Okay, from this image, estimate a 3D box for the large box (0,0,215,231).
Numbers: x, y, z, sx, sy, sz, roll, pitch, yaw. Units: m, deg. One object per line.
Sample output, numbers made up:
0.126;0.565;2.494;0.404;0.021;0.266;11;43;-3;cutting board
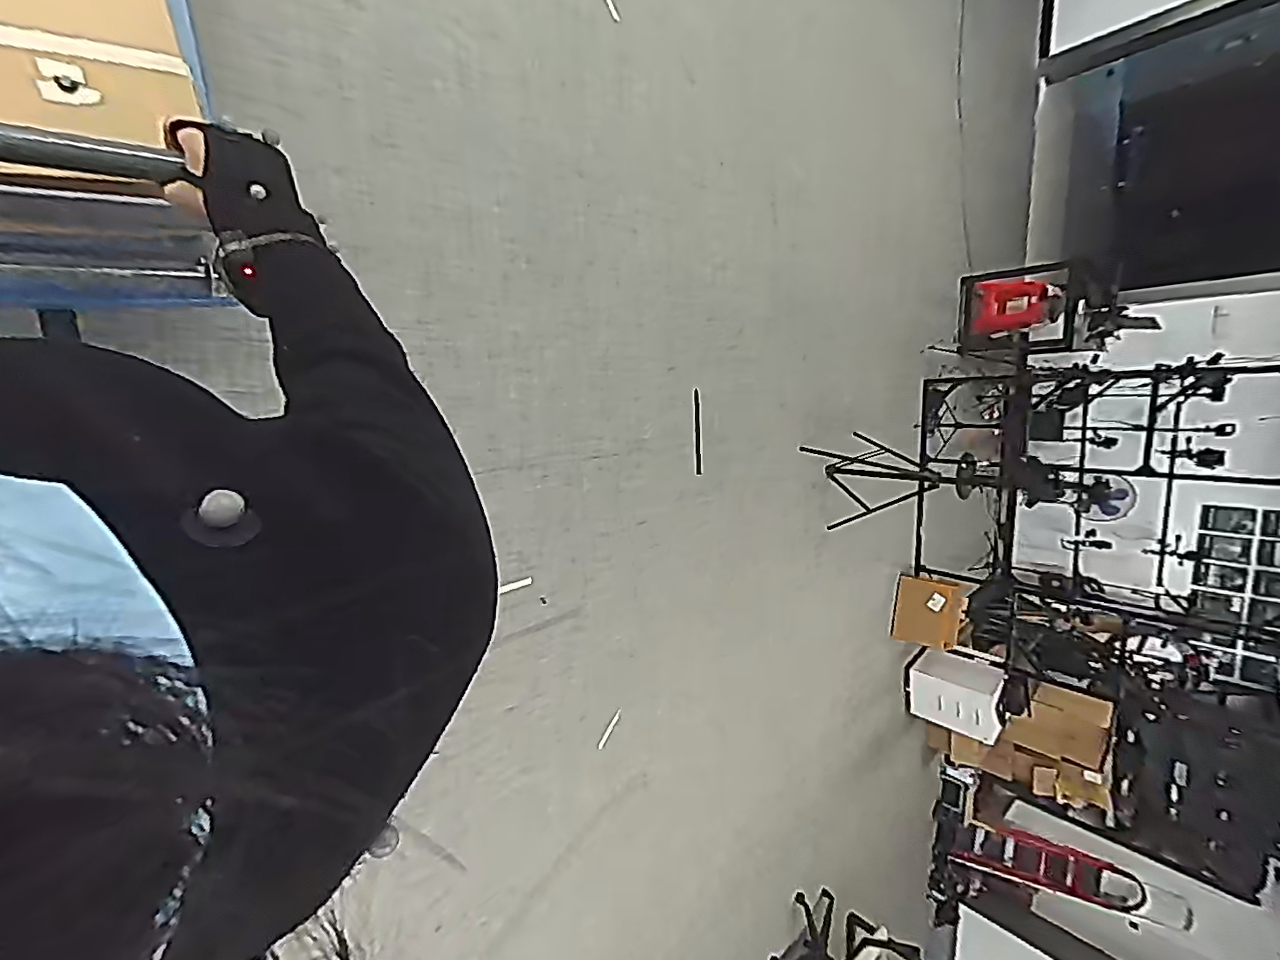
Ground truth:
-0.904;-0.550;0.754;0.408;0.320;0.320;-21;110;-41;large box
